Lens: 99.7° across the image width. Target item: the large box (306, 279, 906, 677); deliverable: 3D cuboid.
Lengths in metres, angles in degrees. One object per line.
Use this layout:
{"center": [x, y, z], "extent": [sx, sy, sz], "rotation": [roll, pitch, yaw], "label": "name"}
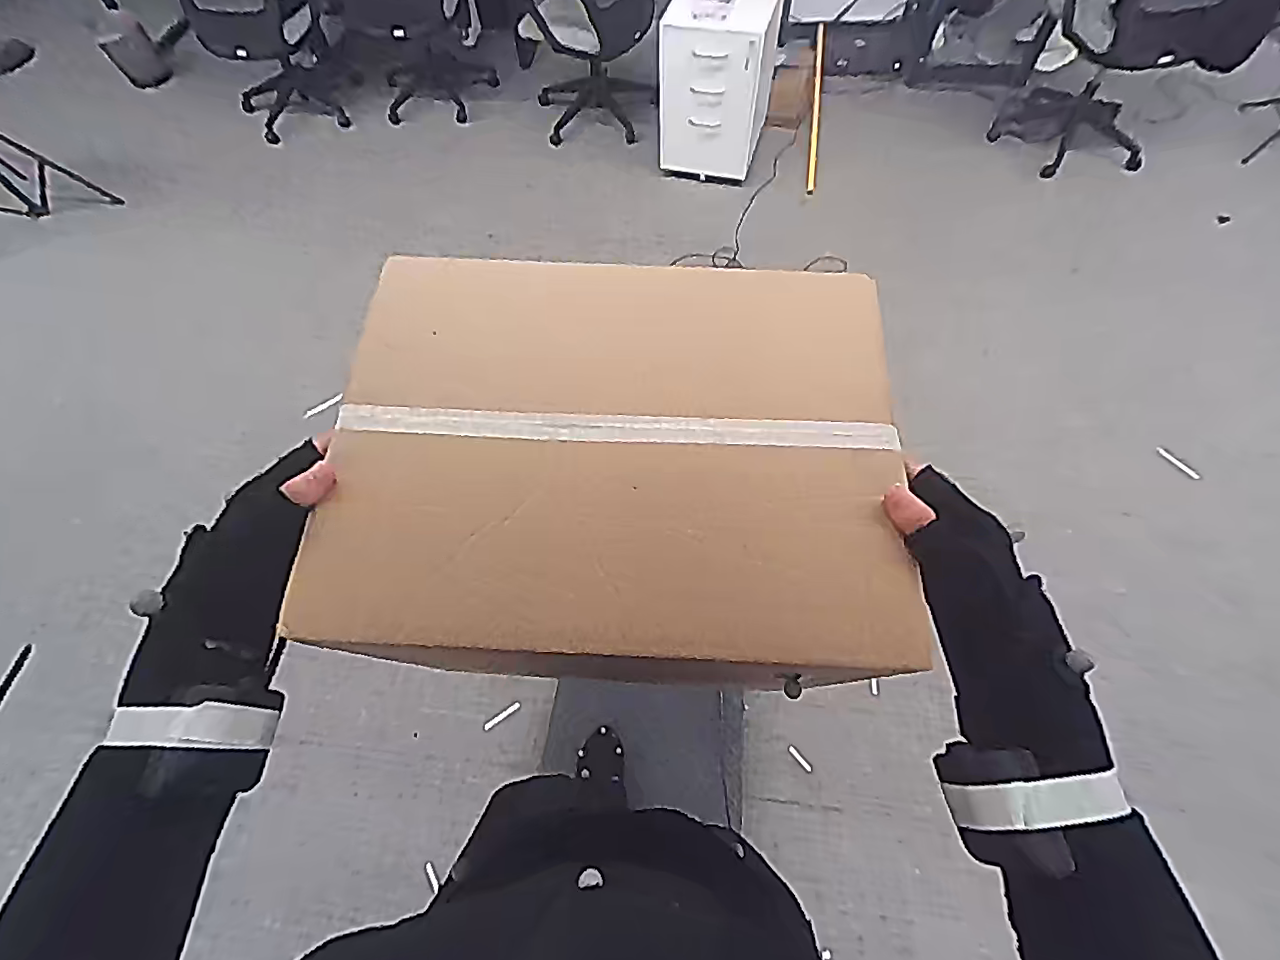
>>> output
{"center": [-0.017, 0.027, 0.546], "extent": [0.408, 0.320, 0.320], "rotation": [2, 67, 1], "label": "large box"}
